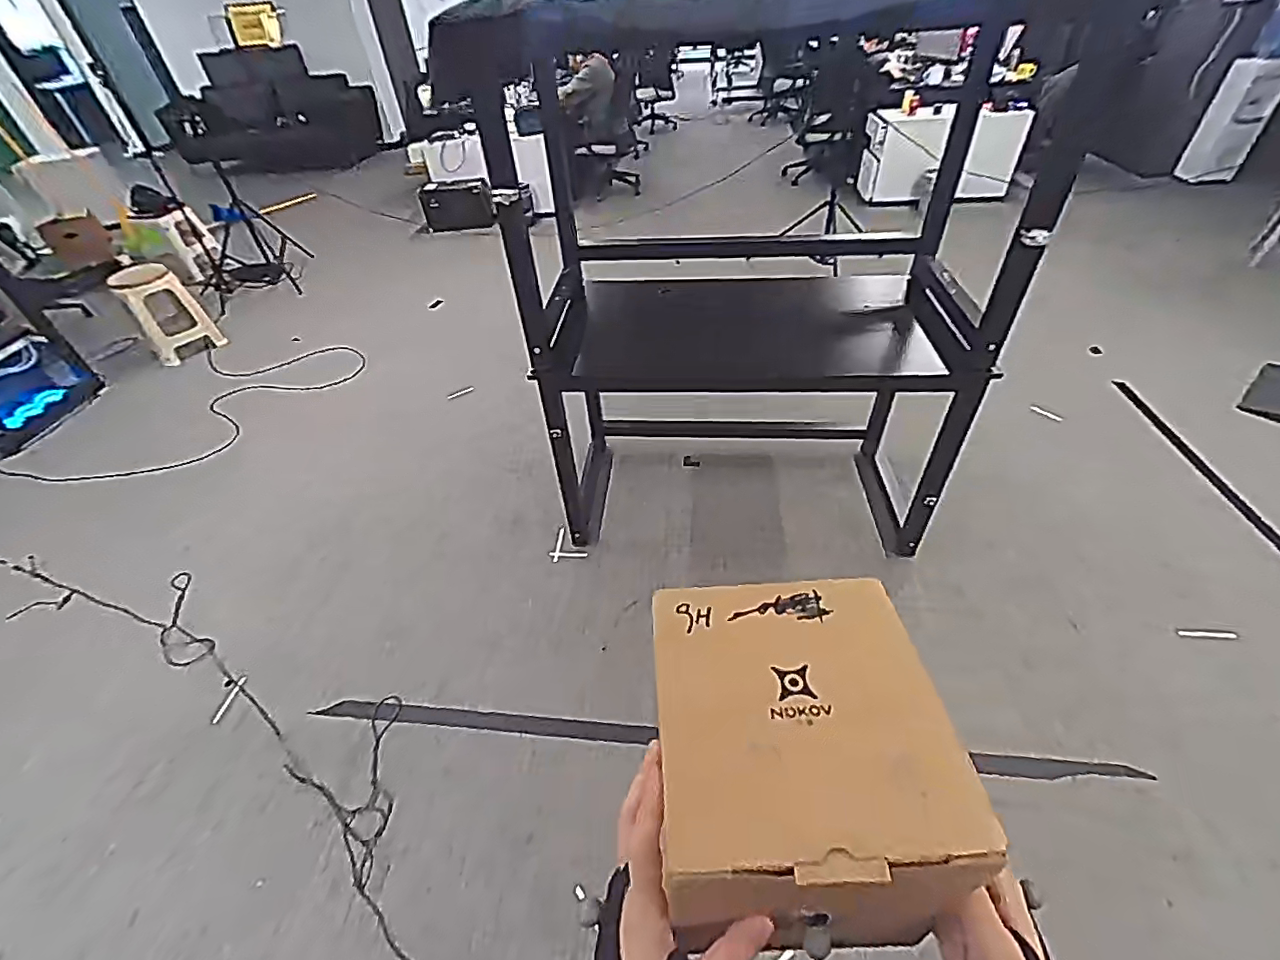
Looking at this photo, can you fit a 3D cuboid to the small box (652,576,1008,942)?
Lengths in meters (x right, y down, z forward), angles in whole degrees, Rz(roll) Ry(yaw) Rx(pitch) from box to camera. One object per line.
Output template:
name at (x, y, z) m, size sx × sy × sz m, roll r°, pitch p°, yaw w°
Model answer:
small box at (0.096, 0.189, 0.368) m, size 0.168 × 0.176 × 0.179 m, roll -3°, pitch 39°, yaw 0°
